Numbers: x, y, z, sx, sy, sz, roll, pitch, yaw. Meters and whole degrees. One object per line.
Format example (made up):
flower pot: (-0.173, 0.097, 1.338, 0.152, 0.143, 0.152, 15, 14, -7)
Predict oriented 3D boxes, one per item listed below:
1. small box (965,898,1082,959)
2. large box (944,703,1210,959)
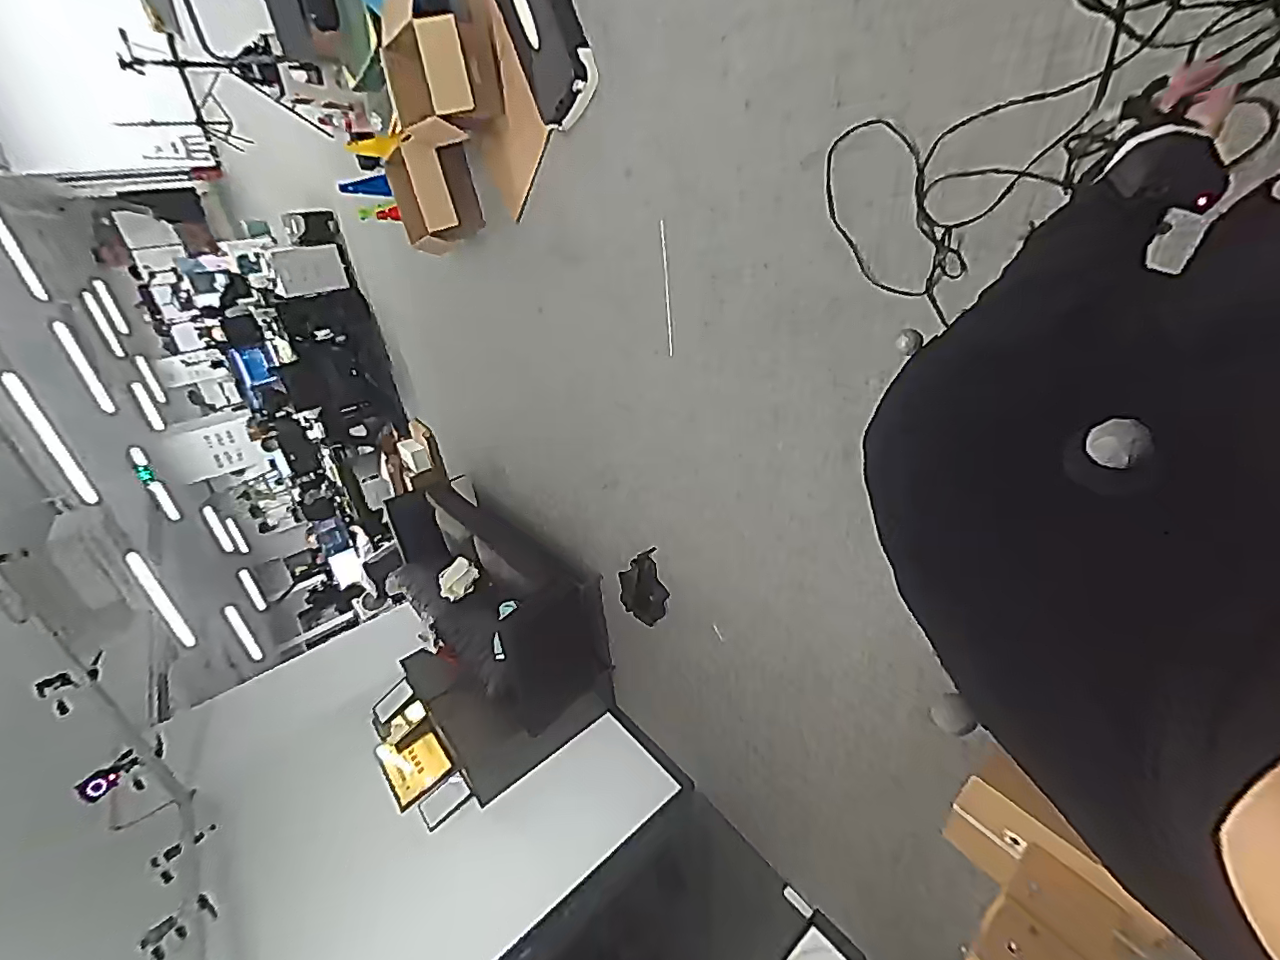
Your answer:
small box: (0.798, 1.031, 1.129, 0.168, 0.176, 0.179, 33, 138, 43)
large box: (1.084, 0.872, 1.376, 0.408, 0.320, 0.320, 33, 136, 42)
